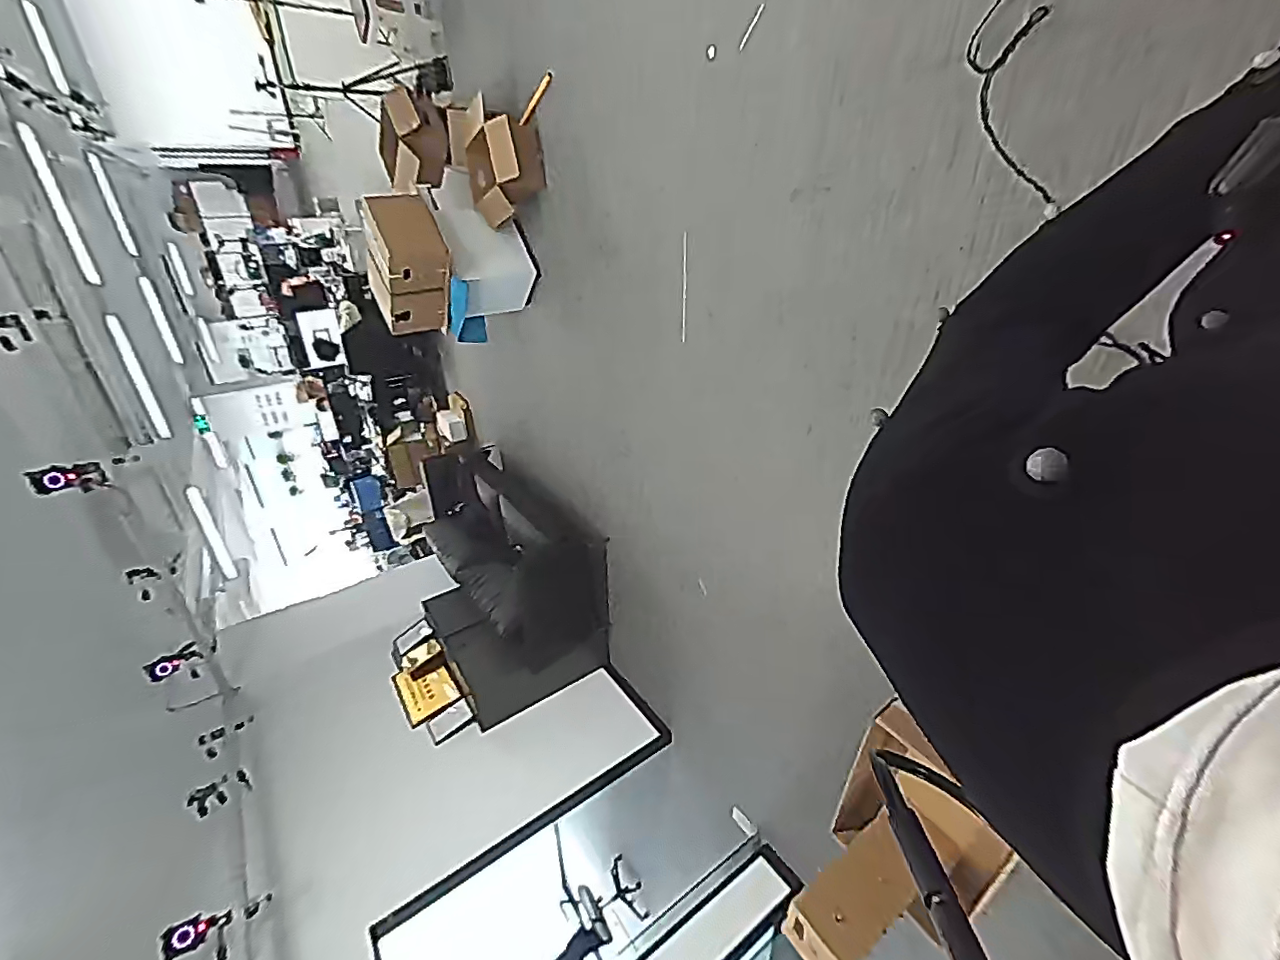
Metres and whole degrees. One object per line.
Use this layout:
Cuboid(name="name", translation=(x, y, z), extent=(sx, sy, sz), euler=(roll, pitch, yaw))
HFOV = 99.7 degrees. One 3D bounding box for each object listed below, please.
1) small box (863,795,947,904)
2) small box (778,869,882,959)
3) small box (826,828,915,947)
Cuboid(name="small box", translation=(0.762, 1.078, 1.589), extent=(0.179, 0.176, 0.168), euler=(39, 136, 42))
Cuboid(name="small box", translation=(0.496, 1.173, 1.421), extent=(0.179, 0.176, 0.168), euler=(36, 134, 42))
Cuboid(name="small box", translation=(0.629, 1.126, 1.506), extent=(0.179, 0.176, 0.168), euler=(36, 134, 42))
